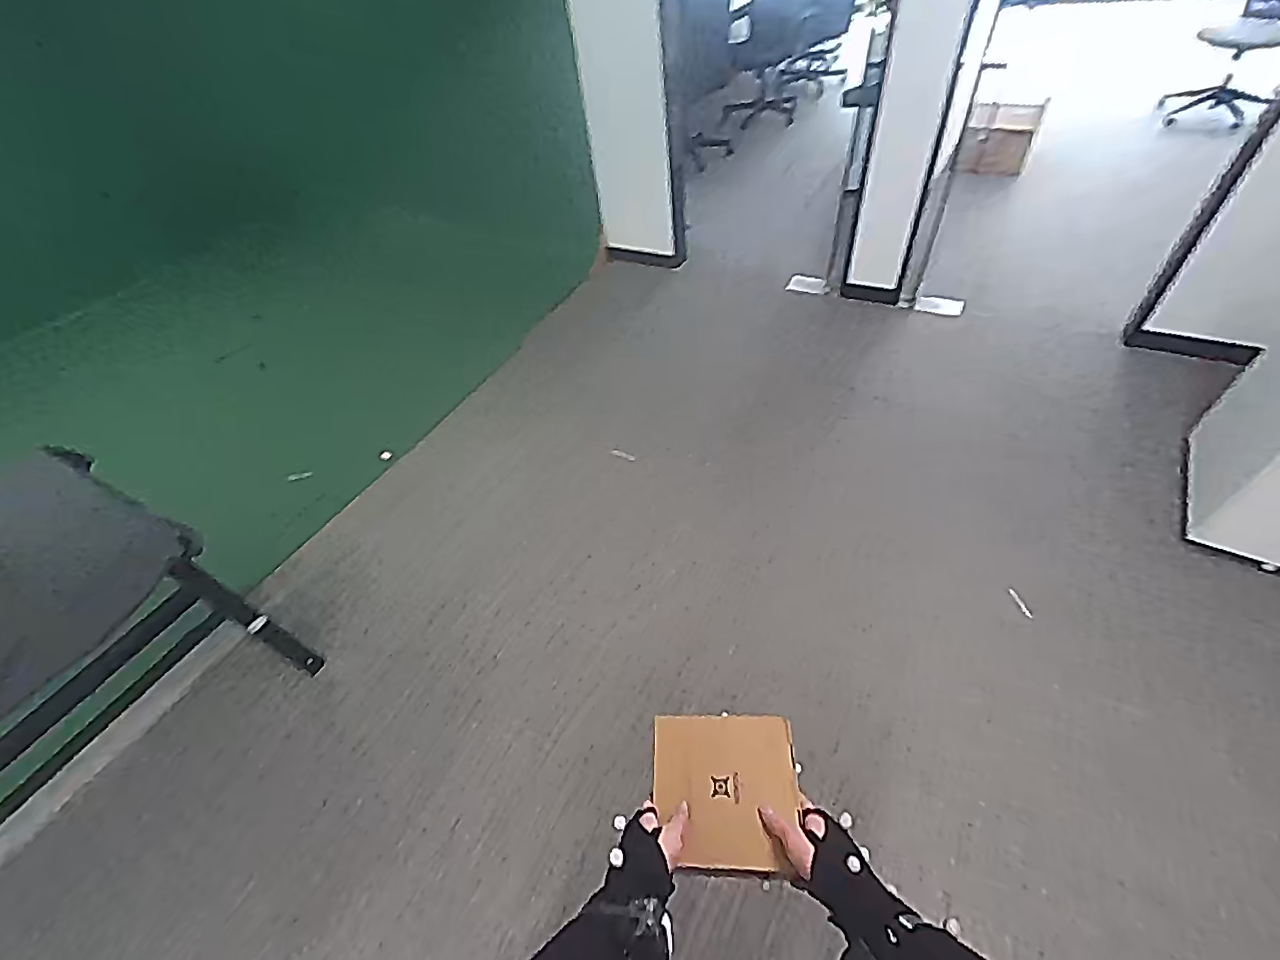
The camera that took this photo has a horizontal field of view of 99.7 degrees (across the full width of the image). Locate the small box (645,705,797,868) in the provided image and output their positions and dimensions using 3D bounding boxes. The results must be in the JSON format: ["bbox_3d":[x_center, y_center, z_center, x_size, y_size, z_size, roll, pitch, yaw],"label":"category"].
[{"bbox_3d":[0.108,0.413,0.729,0.179,0.176,0.168,-4,50,9],"label":"small box"}]
